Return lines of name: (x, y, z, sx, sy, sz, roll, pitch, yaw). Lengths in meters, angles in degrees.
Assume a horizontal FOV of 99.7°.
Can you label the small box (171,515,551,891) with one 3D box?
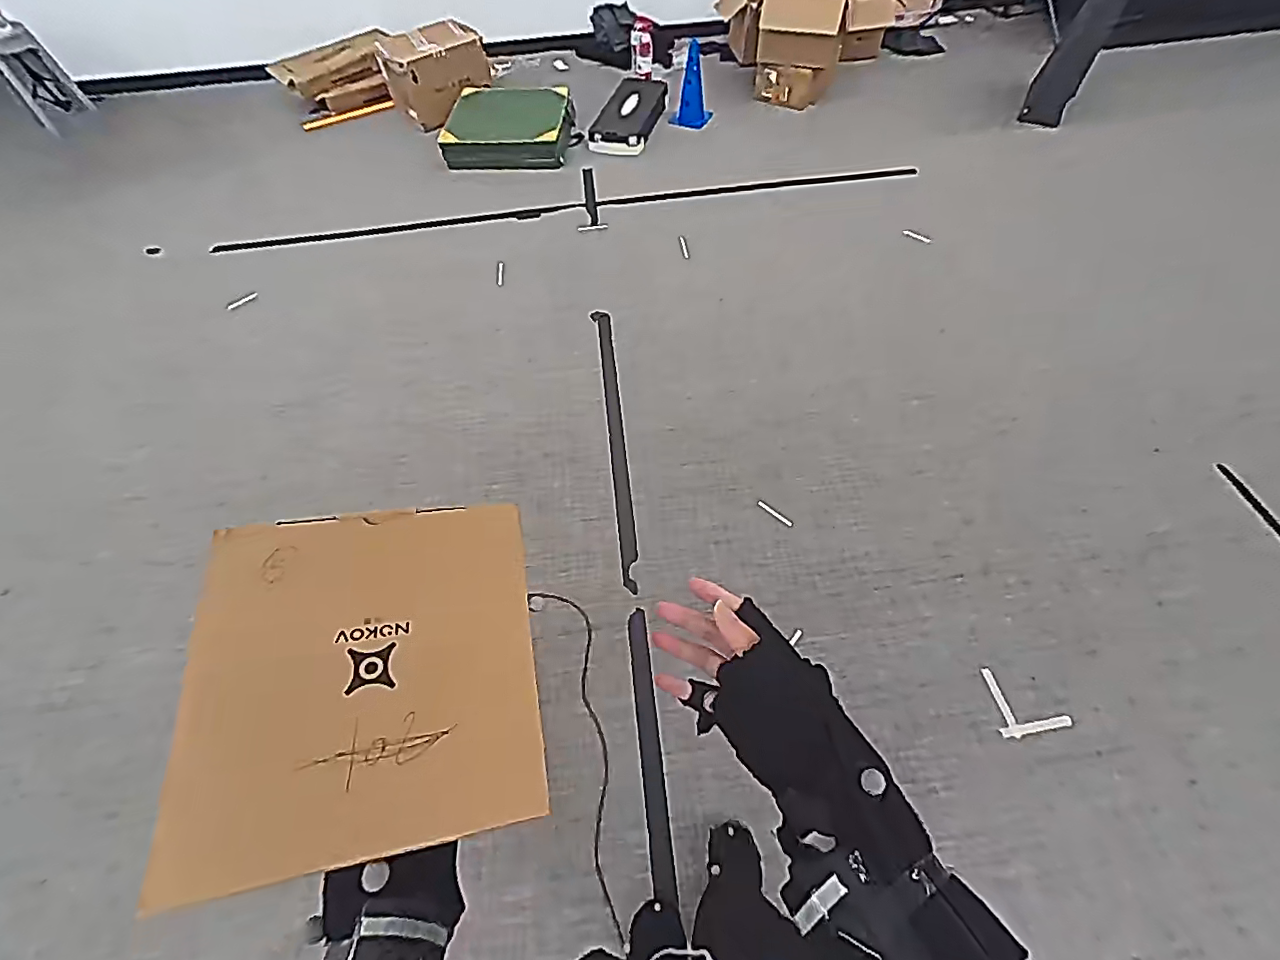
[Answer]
small box: (-0.155, 0.143, 0.360, 0.168, 0.176, 0.179, -4, 59, -16)
